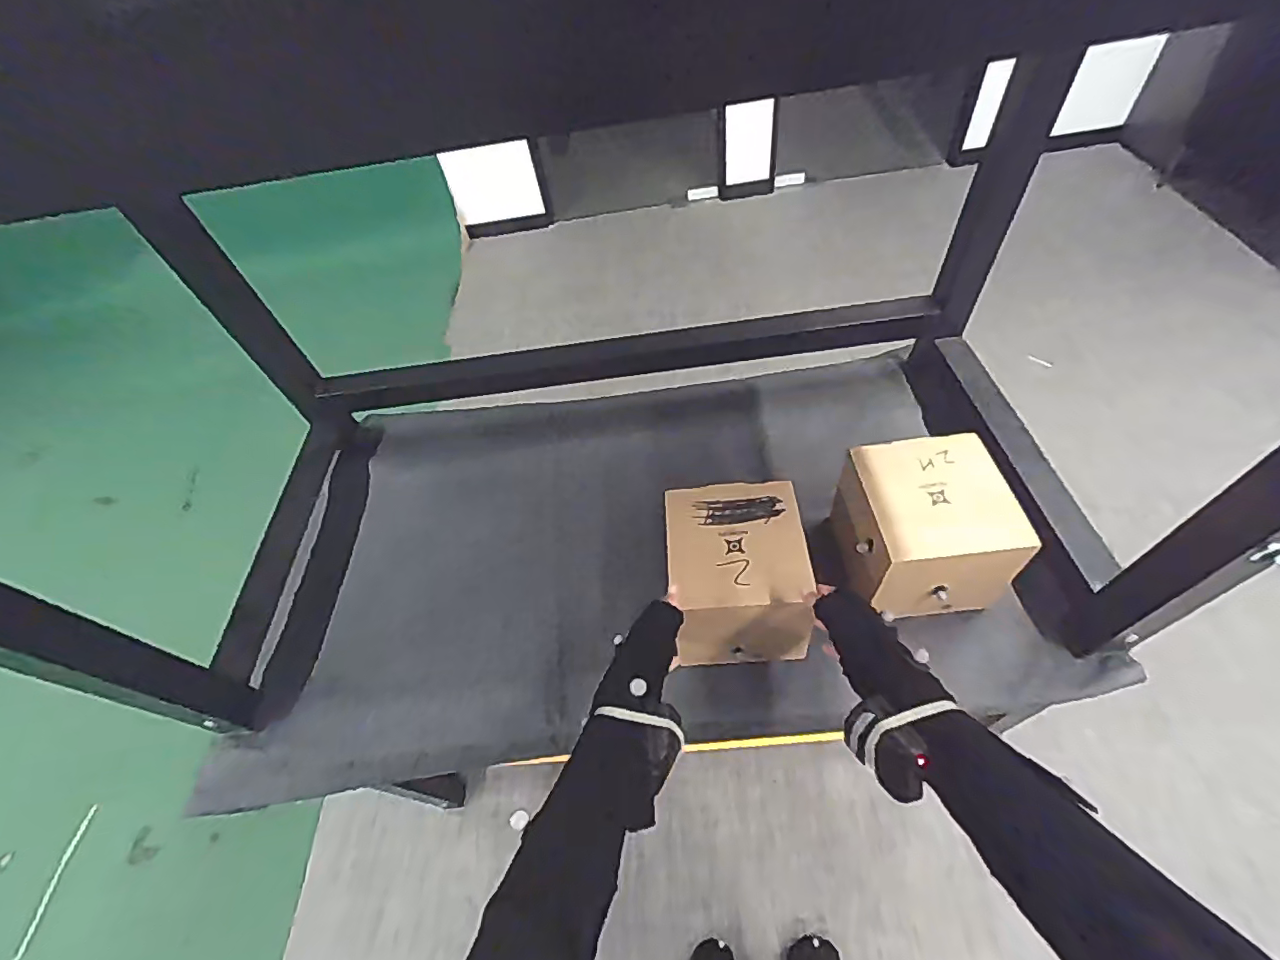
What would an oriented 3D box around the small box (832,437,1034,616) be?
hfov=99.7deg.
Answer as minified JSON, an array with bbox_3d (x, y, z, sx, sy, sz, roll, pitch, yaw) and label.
[{"bbox_3d":[0.370,0.070,0.723,0.168,0.176,0.179,-7,51,4],"label":"small box"}]
